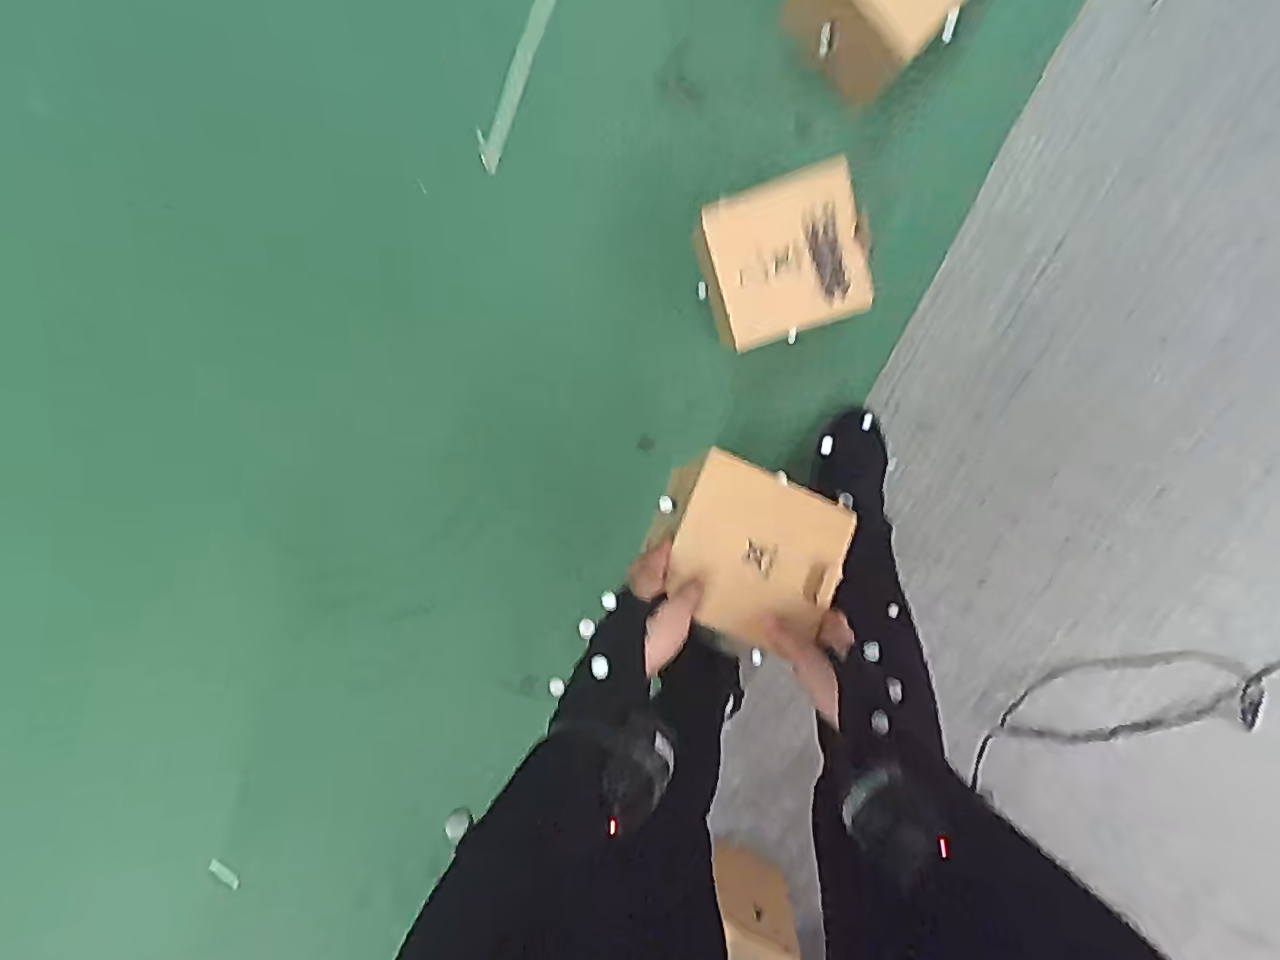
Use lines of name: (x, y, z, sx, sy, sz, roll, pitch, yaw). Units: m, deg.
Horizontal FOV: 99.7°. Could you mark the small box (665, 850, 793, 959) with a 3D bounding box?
small box: (0.161, 0.847, 1.015, 0.179, 0.176, 0.168, 30, 102, -6)
